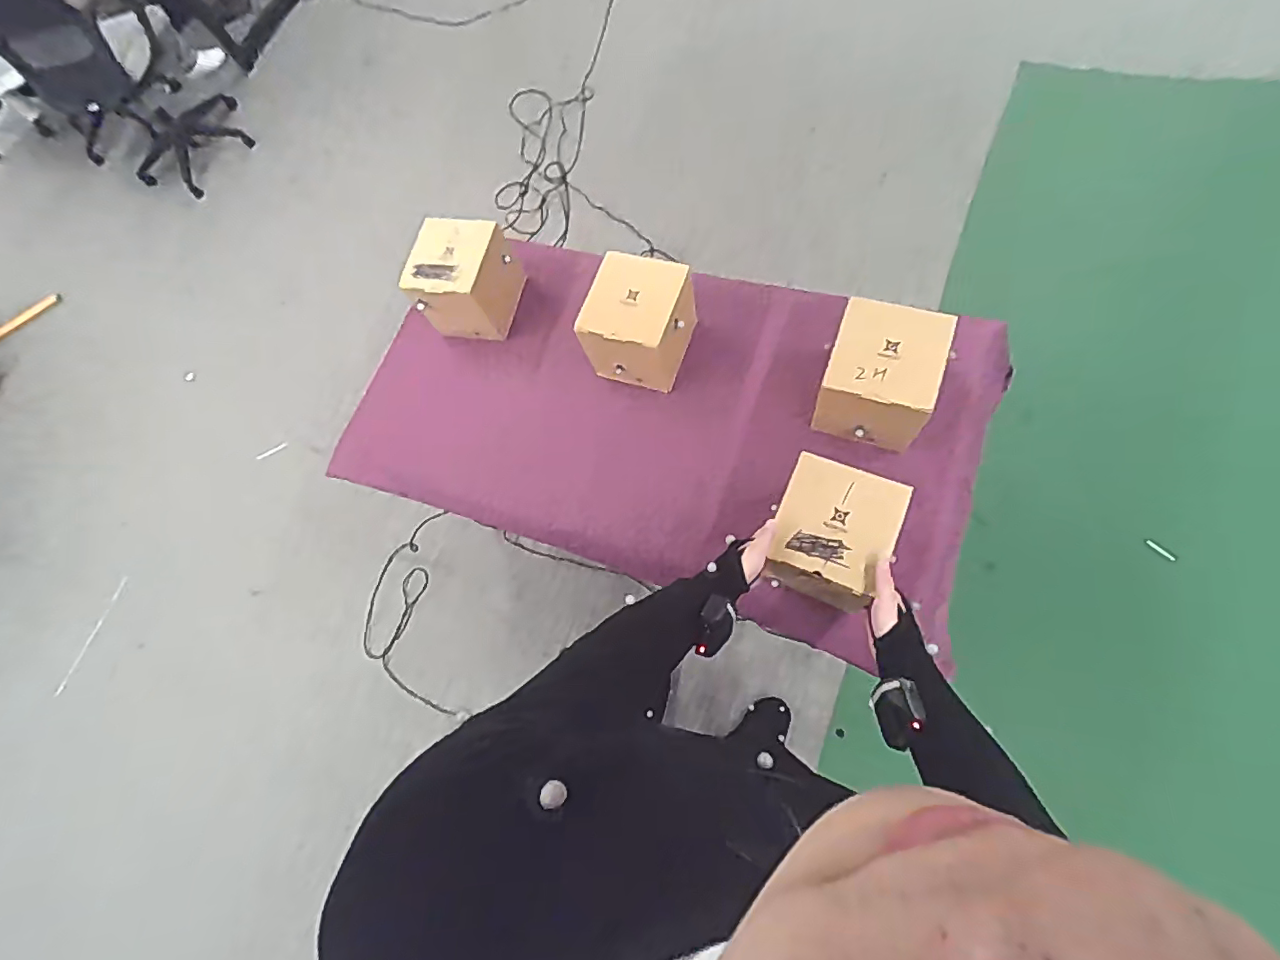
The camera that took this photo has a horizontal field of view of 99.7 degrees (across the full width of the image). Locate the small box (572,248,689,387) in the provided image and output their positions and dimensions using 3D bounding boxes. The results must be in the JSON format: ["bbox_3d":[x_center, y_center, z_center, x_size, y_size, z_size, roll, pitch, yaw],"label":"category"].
[{"bbox_3d":[-0.008,-0.306,1.039,0.168,0.176,0.179,17,77,15],"label":"small box"}]

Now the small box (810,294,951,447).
[{"bbox_3d":[0.398,-0.180,0.921,0.168,0.176,0.179,18,77,16],"label":"small box"}]

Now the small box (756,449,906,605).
[{"bbox_3d":[0.291,0.081,0.852,0.168,0.176,0.179,21,75,17],"label":"small box"}]
